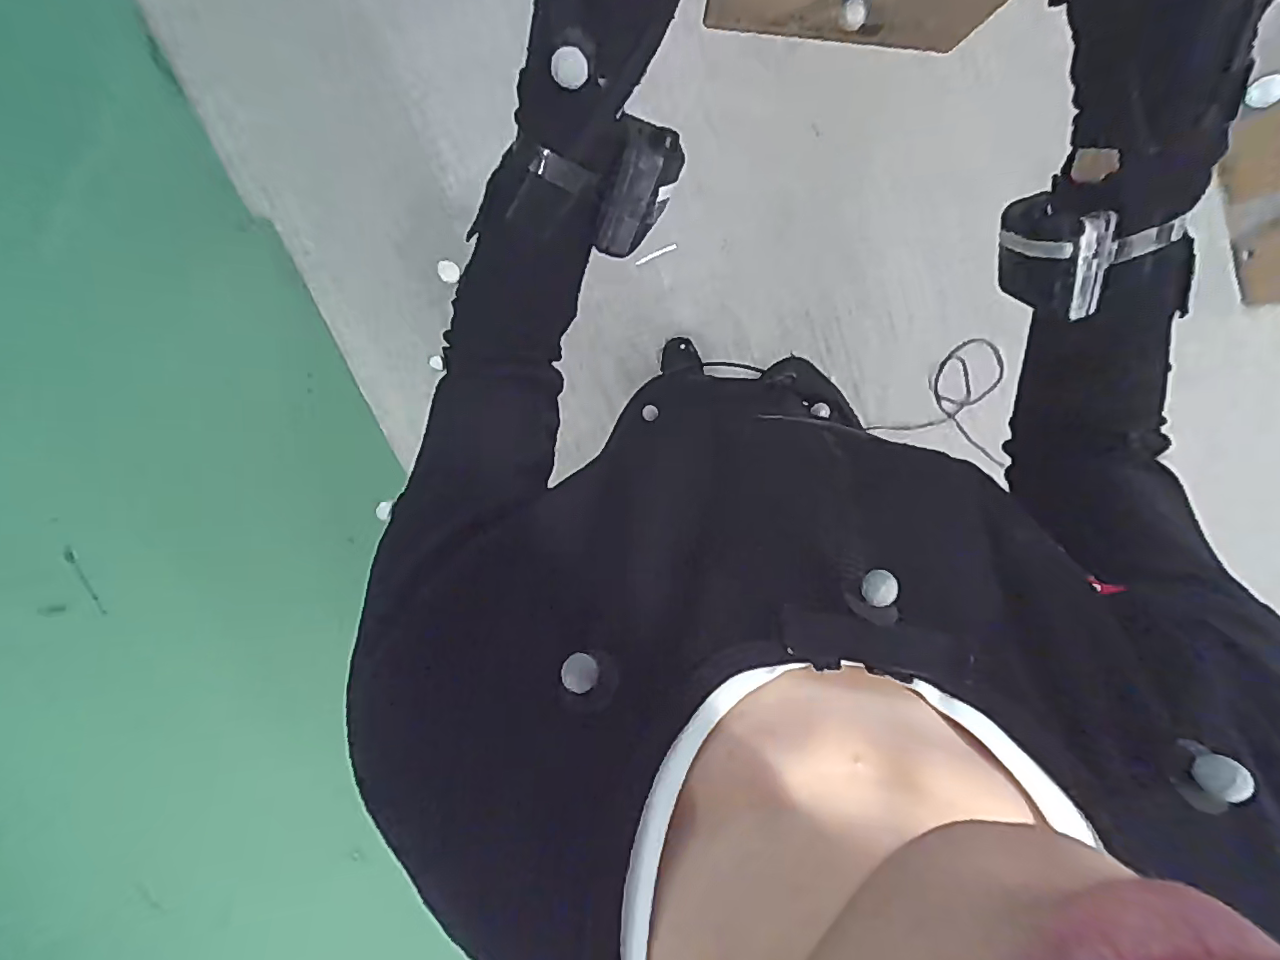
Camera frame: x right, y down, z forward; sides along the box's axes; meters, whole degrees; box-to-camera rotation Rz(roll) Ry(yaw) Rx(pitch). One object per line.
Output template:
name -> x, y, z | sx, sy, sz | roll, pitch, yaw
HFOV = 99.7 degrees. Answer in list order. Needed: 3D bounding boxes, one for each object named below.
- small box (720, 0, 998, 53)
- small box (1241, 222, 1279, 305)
small box -> 0.133, -0.352, 0.256 | 0.168, 0.176, 0.179 | 7, 106, -1
small box -> 1.497, -0.501, 1.192 | 0.179, 0.176, 0.168 | -23, 101, 8
